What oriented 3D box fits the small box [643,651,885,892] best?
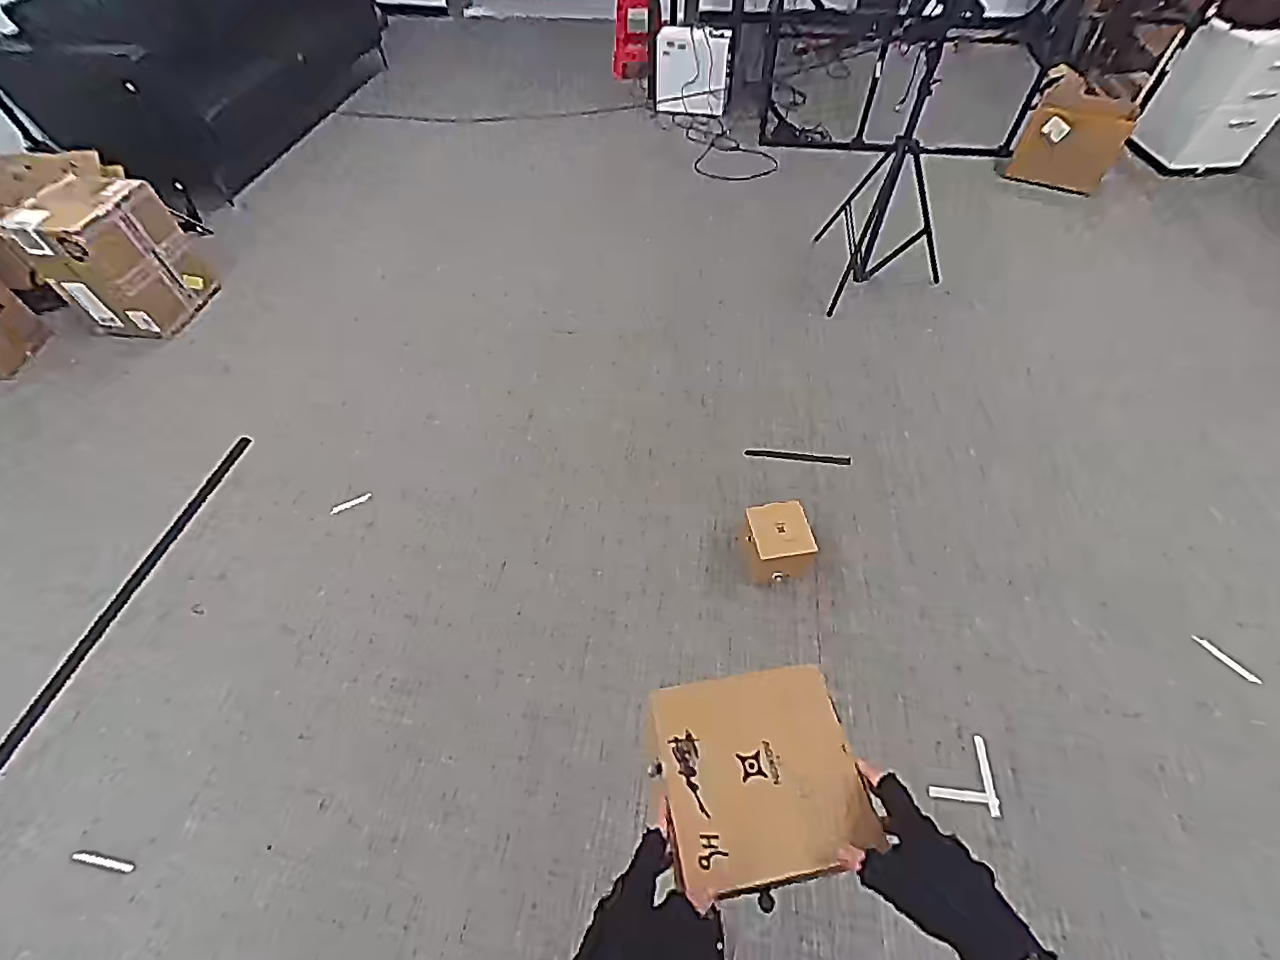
[{"bbox_3d":[0.103,0.293,0.544,0.179,0.176,0.168,-7,49,-7],"label":"small box"}]

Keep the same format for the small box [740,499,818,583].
[{"bbox_3d":[0.401,0.183,1.601,0.168,0.176,0.179,-9,55,-4],"label":"small box"}]
